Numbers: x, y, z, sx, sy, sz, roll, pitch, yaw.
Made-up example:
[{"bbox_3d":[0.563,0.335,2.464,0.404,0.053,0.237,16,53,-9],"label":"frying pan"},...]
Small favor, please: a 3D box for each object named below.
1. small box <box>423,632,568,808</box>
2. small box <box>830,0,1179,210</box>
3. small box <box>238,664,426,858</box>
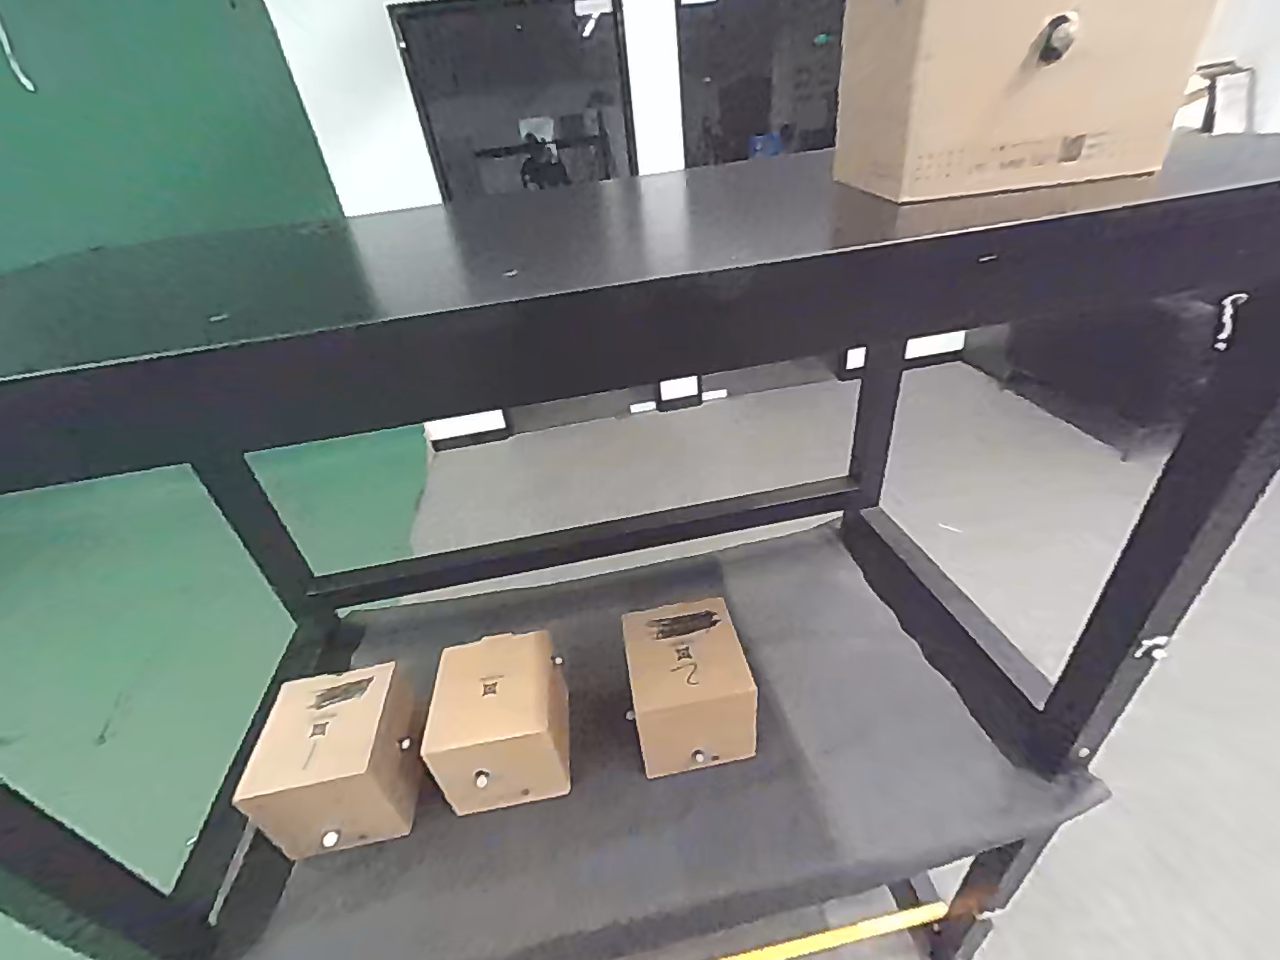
[{"bbox_3d":[-0.204,0.364,0.815,0.168,0.176,0.179,-9,32,-4],"label":"small box"},{"bbox_3d":[0.248,-0.305,0.401,0.168,0.176,0.179,-4,32,5],"label":"small box"},{"bbox_3d":[-0.426,0.405,0.789,0.168,0.176,0.179,-10,33,-5],"label":"small box"}]
